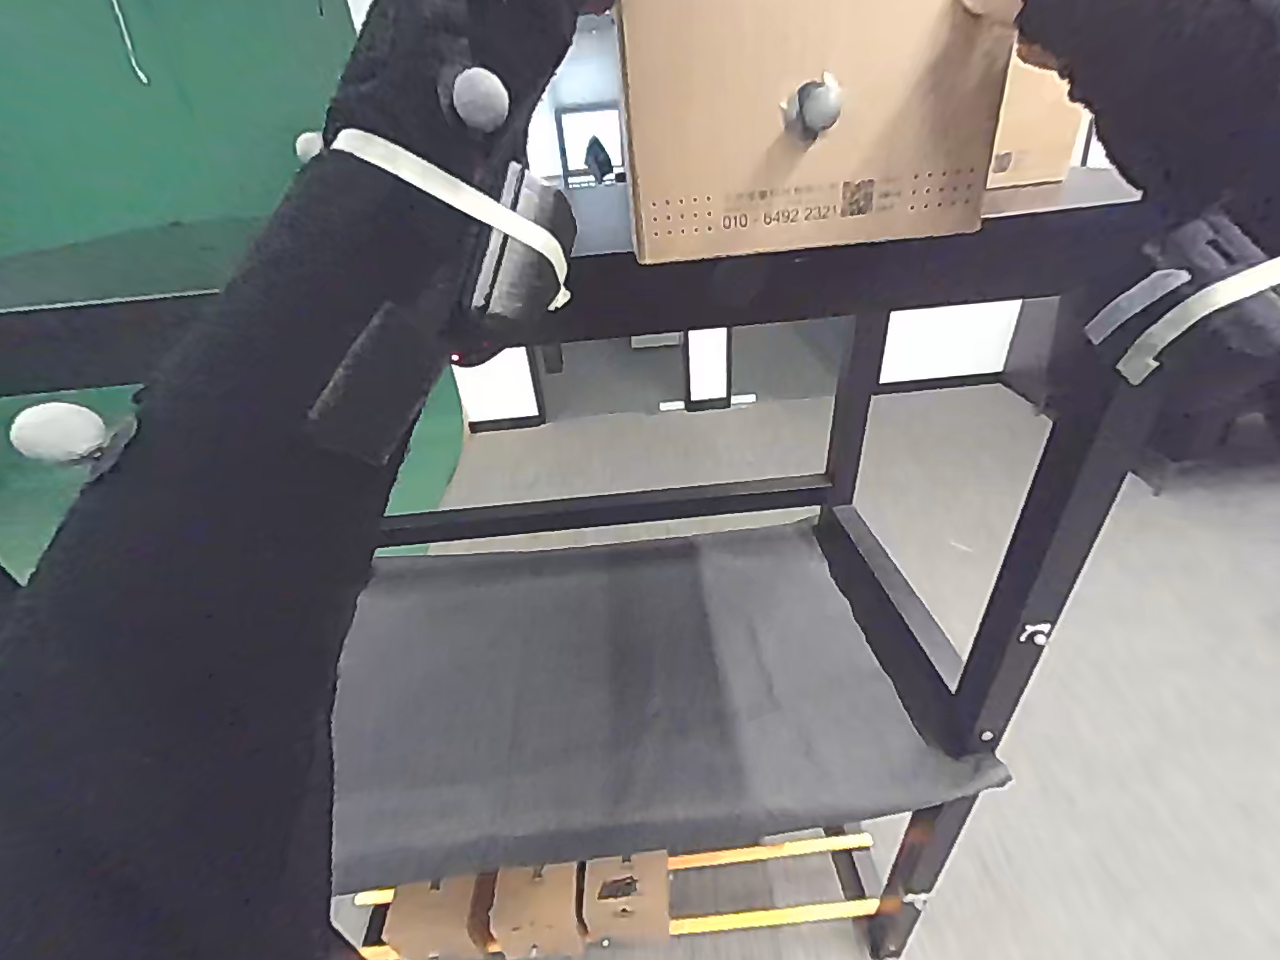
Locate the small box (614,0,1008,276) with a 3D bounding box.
[{"bbox_3d":[0.071,-0.216,0.306,0.168,0.176,0.179,-5,29,2],"label":"small box"}]
